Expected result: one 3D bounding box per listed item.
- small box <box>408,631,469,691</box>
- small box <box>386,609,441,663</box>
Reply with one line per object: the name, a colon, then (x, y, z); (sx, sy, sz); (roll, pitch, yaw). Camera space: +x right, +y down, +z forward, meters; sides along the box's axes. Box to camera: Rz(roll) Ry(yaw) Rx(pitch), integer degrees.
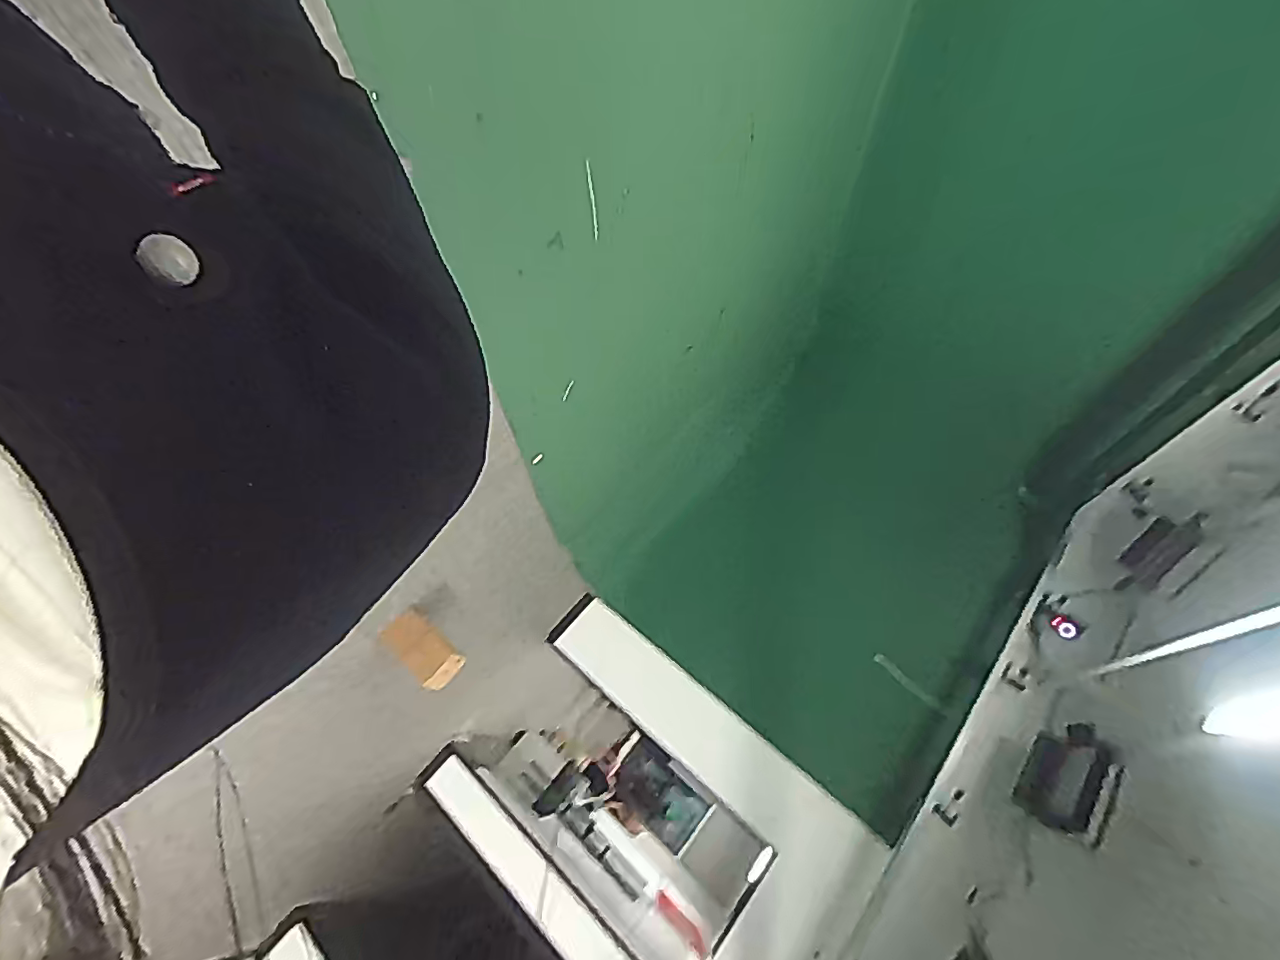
small box: (-0.913, 0.813, 2.431); (0.179, 0.176, 0.168); (-48, 156, -19)
small box: (-1.040, 0.730, 2.495); (0.179, 0.176, 0.168); (-48, 157, -21)
